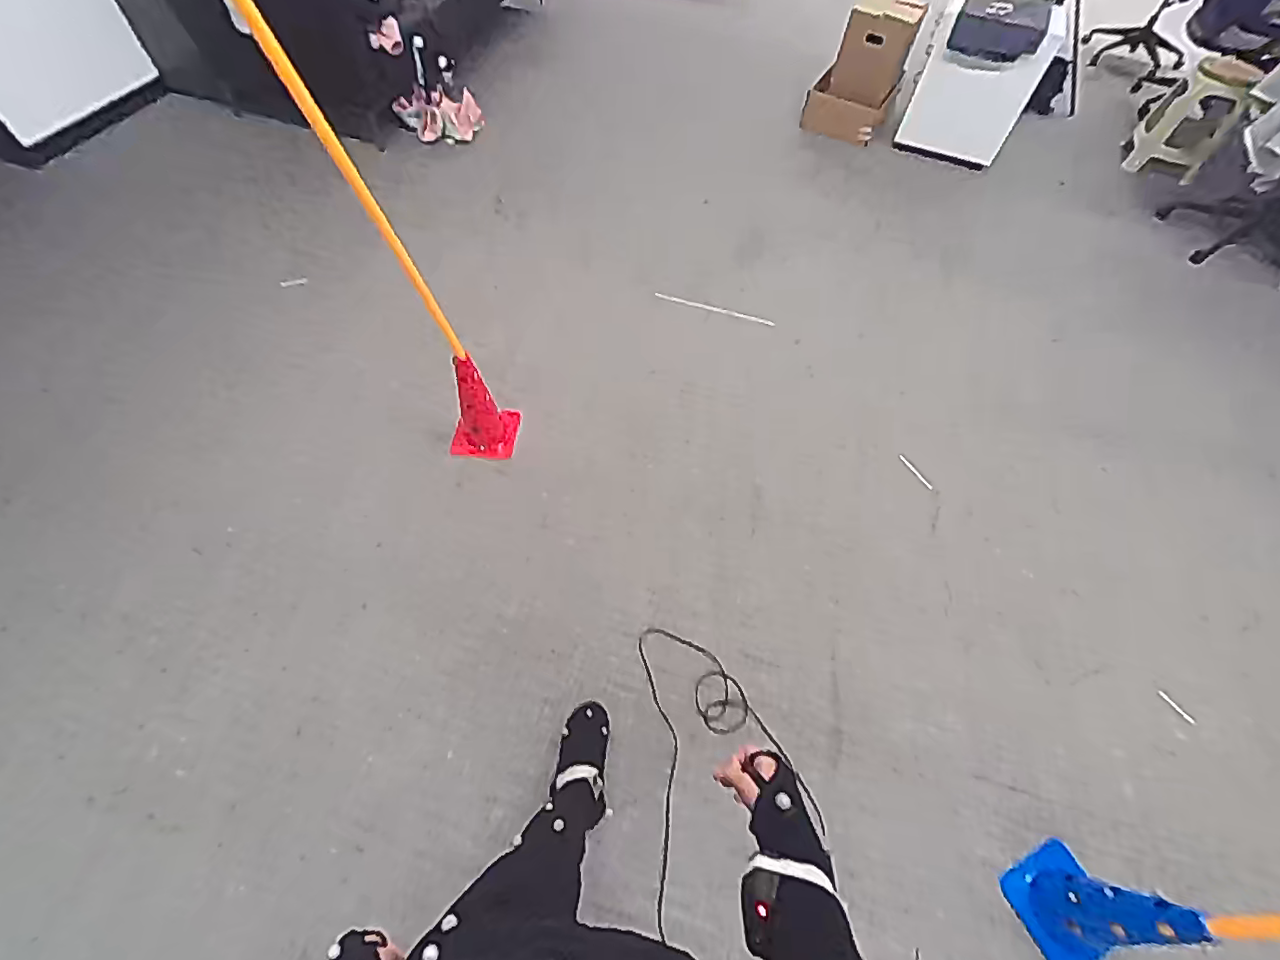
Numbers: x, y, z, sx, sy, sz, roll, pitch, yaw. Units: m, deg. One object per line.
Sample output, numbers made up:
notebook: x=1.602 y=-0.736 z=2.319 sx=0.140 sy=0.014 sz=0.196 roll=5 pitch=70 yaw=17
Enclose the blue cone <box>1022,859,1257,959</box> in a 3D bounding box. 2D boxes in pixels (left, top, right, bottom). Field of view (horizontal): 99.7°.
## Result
blue cone: x=0.933 y=0.842 z=1.003 sx=0.193 sy=0.380 sz=0.192 roll=-21 pitch=60 yaw=-18
